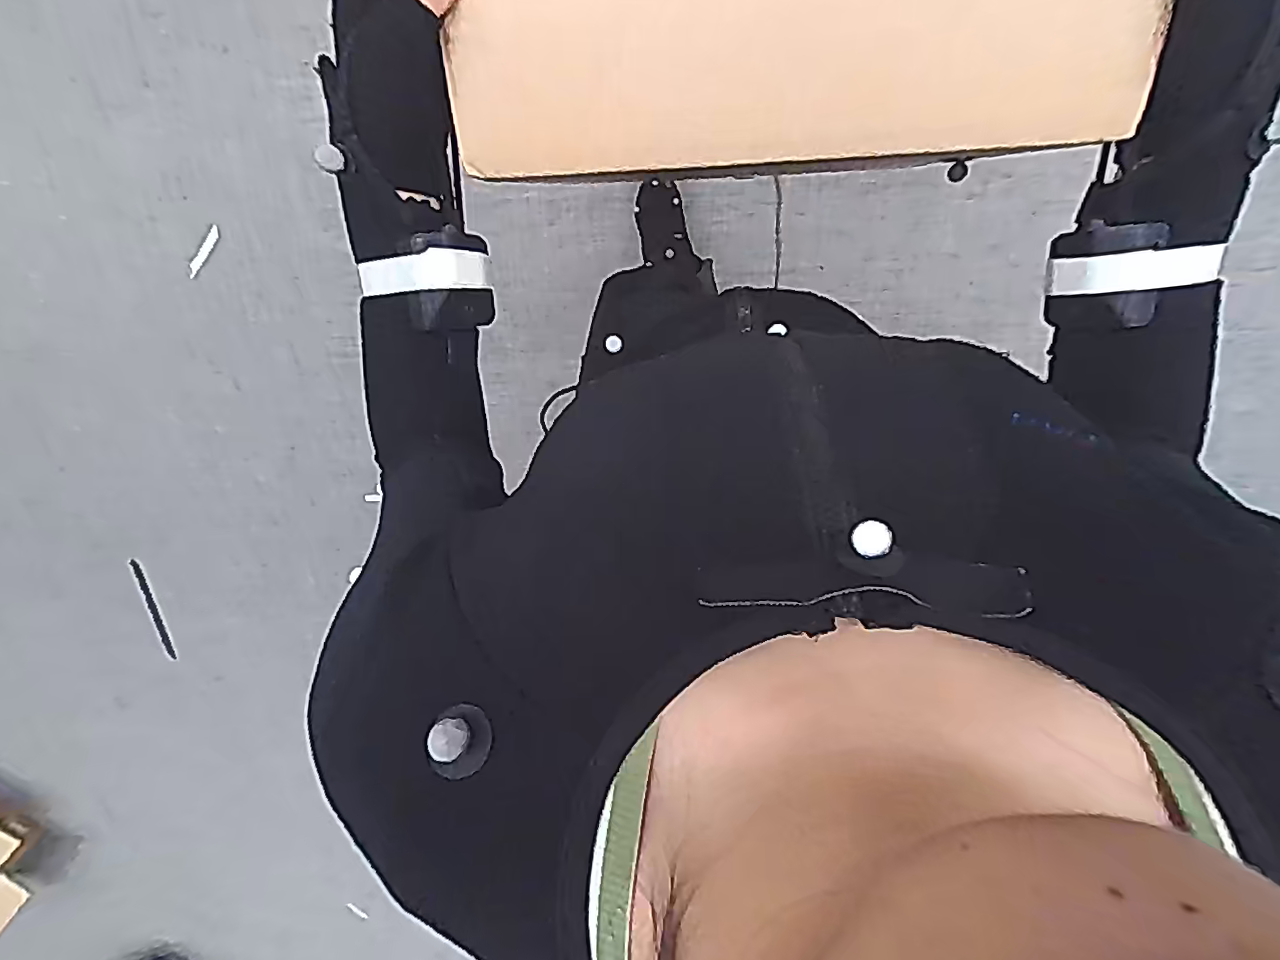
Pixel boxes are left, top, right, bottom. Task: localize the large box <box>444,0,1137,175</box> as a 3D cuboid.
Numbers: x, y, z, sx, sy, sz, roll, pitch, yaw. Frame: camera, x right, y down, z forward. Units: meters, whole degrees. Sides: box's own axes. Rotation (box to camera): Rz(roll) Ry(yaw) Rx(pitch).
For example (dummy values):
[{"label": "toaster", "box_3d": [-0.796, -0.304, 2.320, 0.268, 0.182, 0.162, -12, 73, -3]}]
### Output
[{"label": "large box", "box_3d": [0.088, -0.417, 0.405, 0.408, 0.320, 0.320, -1, 118, 5]}]
